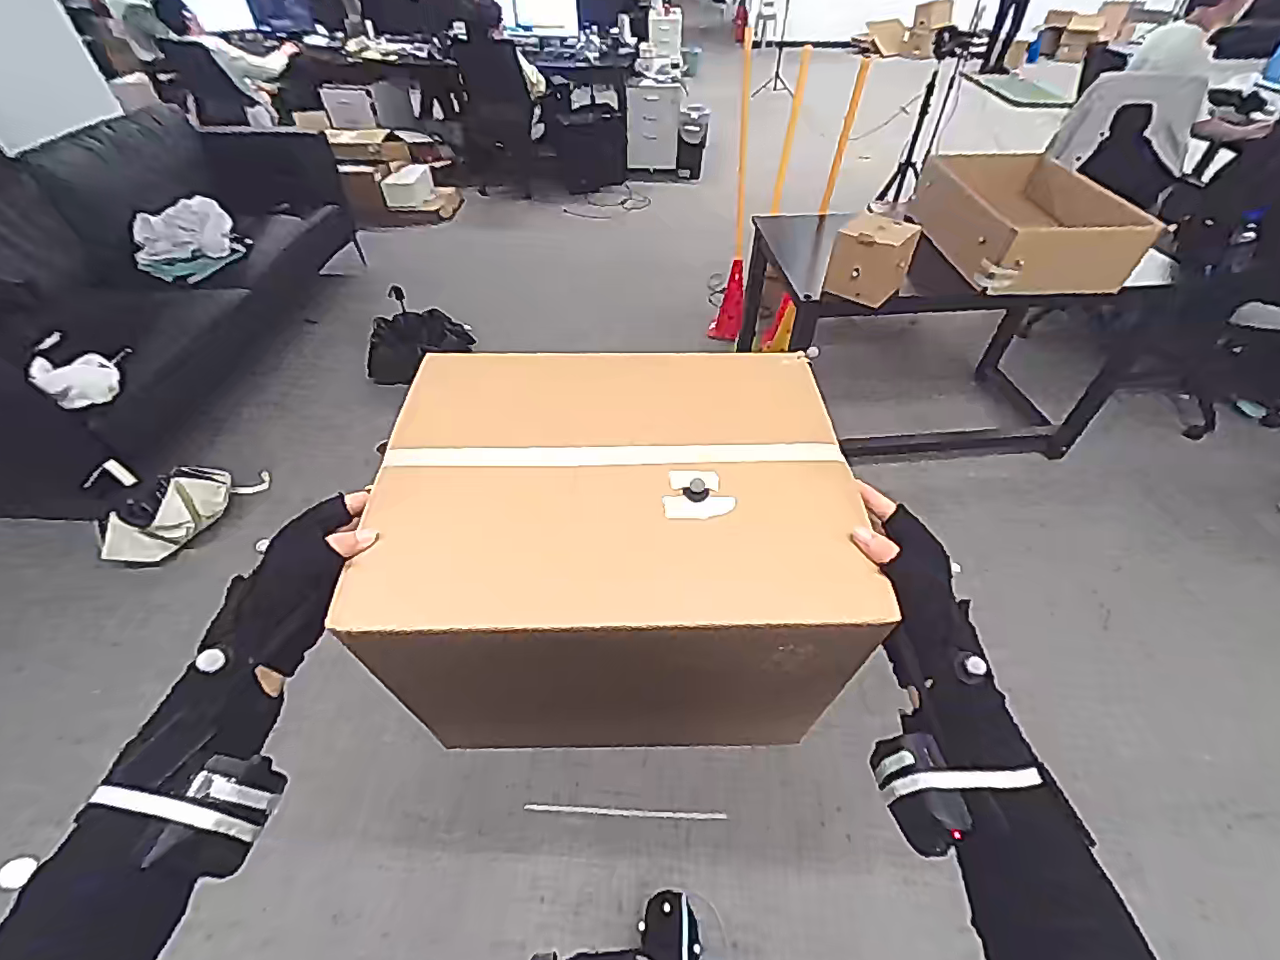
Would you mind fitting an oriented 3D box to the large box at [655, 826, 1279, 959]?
[{"bbox_3d":[0.127,0.364,0.098,0.320,0.320,0.408,-15,9,30],"label":"large box"}]
